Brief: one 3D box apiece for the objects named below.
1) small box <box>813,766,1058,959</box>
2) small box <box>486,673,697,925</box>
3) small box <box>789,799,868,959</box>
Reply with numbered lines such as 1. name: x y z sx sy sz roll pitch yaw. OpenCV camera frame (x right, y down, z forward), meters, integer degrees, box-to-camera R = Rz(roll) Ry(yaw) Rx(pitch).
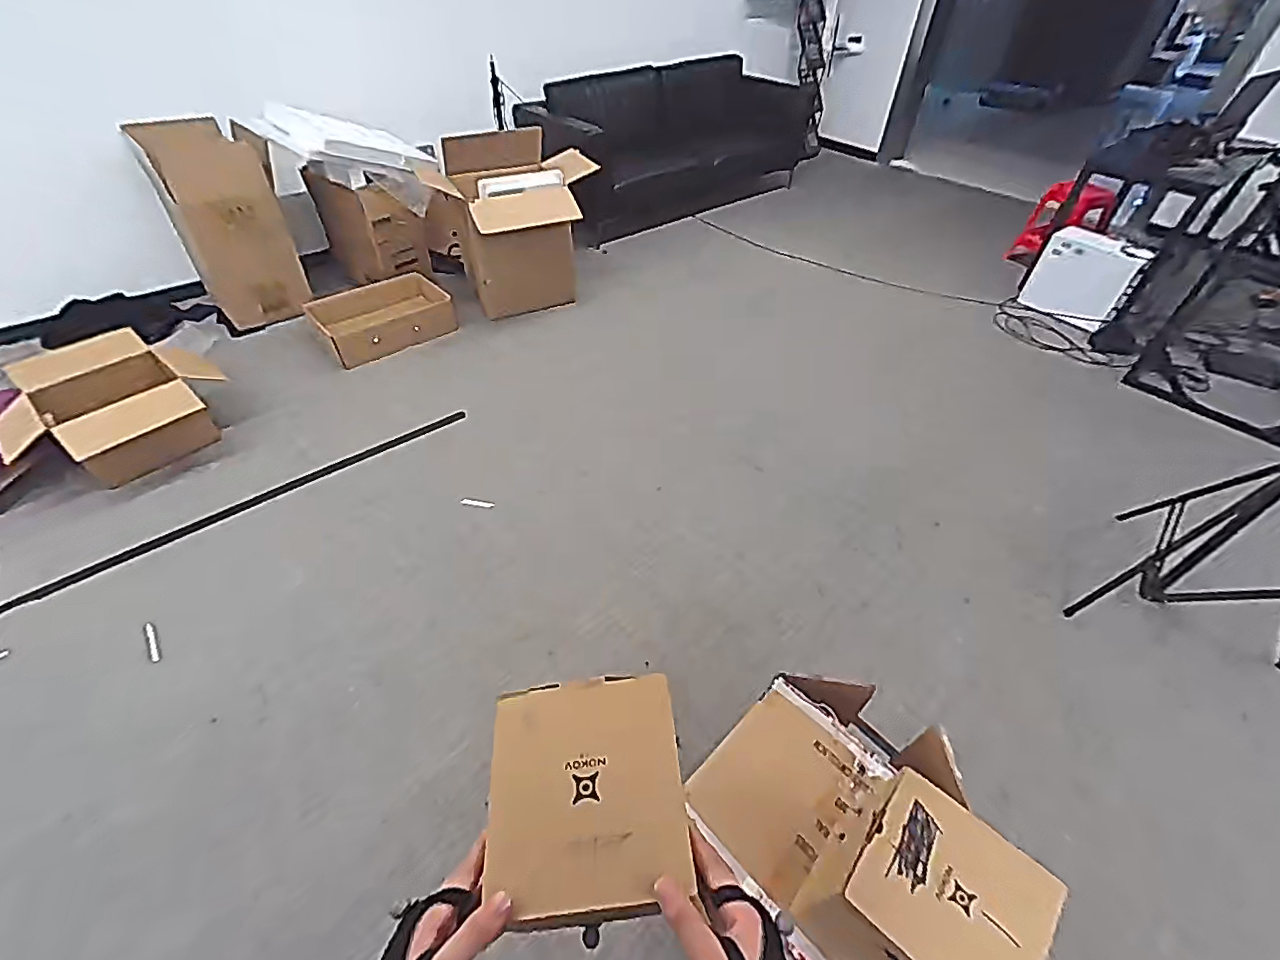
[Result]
1. small box: 0.328 0.483 0.632 0.179 0.176 0.168 33 57 27
2. small box: -0.043 0.312 0.528 0.168 0.176 0.179 -7 50 -3
3. small box: 0.335 0.592 0.756 0.179 0.176 0.168 33 57 27
